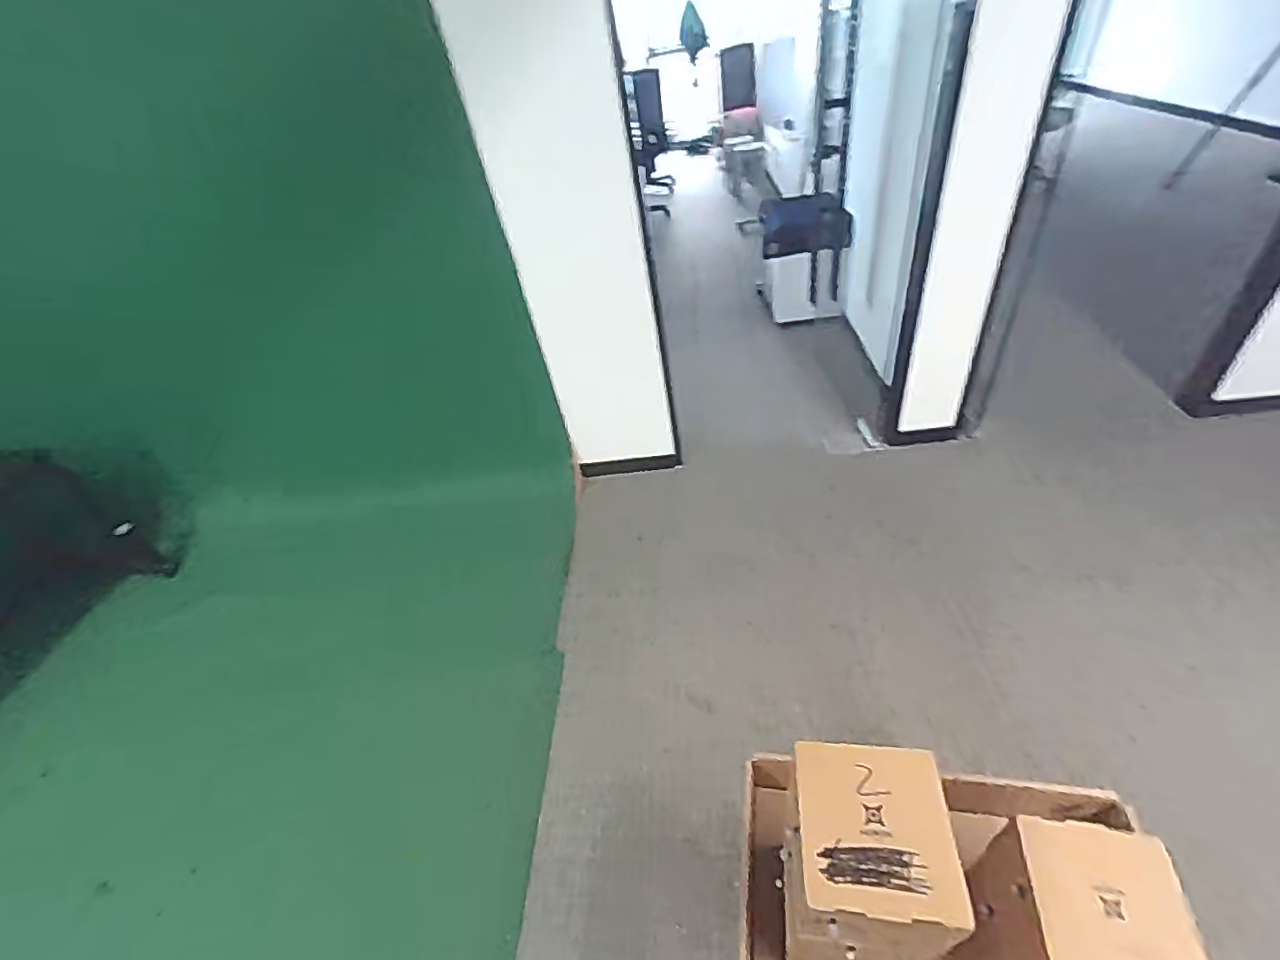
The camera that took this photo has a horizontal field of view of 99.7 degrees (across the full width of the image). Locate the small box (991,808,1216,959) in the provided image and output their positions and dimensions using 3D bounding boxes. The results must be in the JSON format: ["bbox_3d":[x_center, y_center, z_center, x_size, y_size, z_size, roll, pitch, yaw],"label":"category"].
[{"bbox_3d":[0.585,0.566,0.704,0.168,0.176,0.179,2,44,16],"label":"small box"}]

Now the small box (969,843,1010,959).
[{"bbox_3d":[0.616,0.686,0.812,0.168,0.176,0.179,2,44,17],"label":"small box"}]

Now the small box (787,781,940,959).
[{"bbox_3d":[0.303,0.563,0.776,0.168,0.176,0.179,-2,43,12],"label":"small box"}]
